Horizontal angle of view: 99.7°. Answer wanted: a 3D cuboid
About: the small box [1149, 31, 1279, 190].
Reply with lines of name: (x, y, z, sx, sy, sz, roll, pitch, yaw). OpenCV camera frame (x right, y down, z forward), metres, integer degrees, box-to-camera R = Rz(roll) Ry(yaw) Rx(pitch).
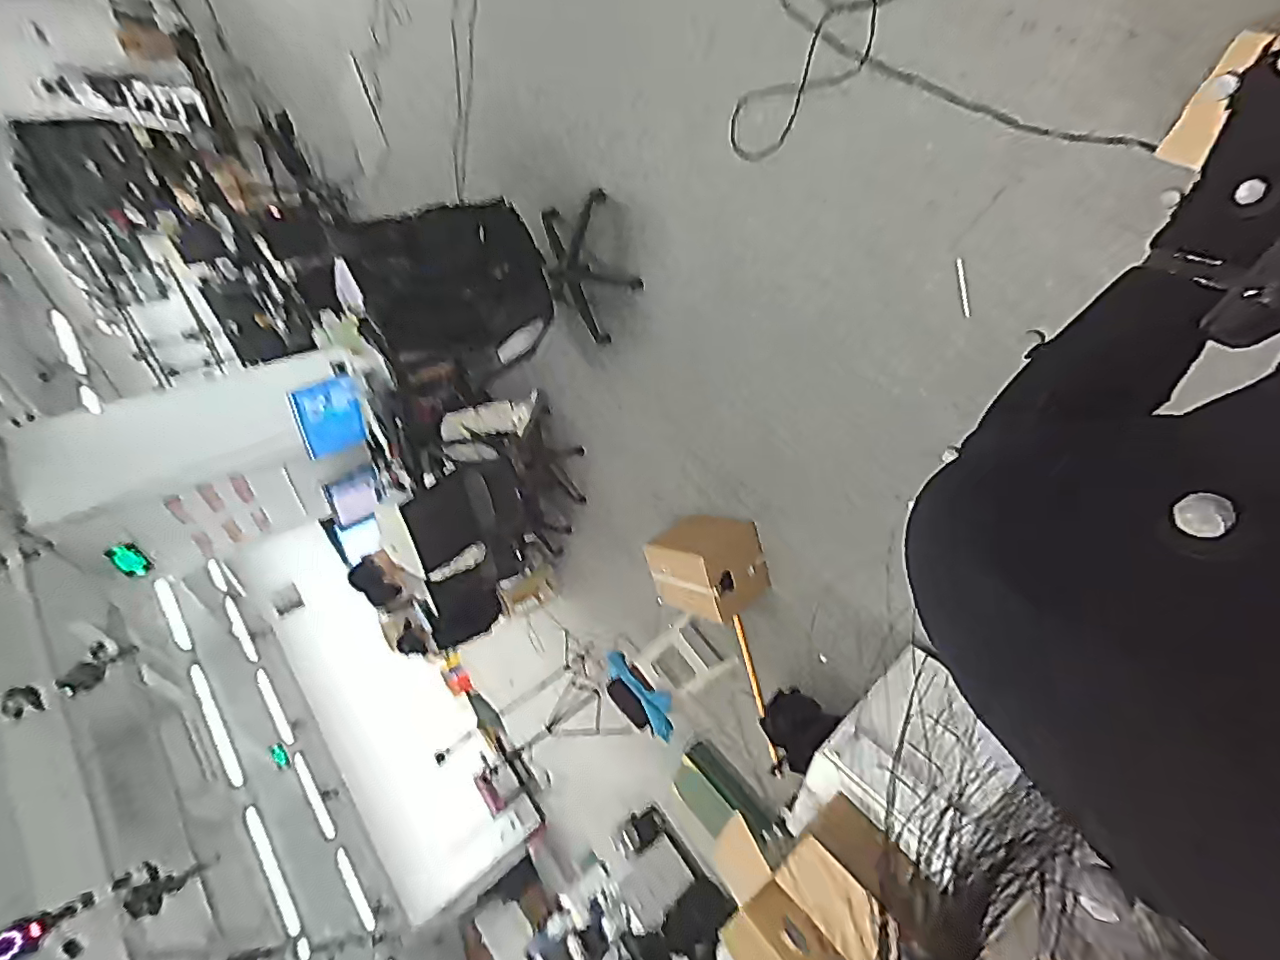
small box: (0.961, -0.571, 0.833, 0.179, 0.176, 0.168, 42, 143, 29)
